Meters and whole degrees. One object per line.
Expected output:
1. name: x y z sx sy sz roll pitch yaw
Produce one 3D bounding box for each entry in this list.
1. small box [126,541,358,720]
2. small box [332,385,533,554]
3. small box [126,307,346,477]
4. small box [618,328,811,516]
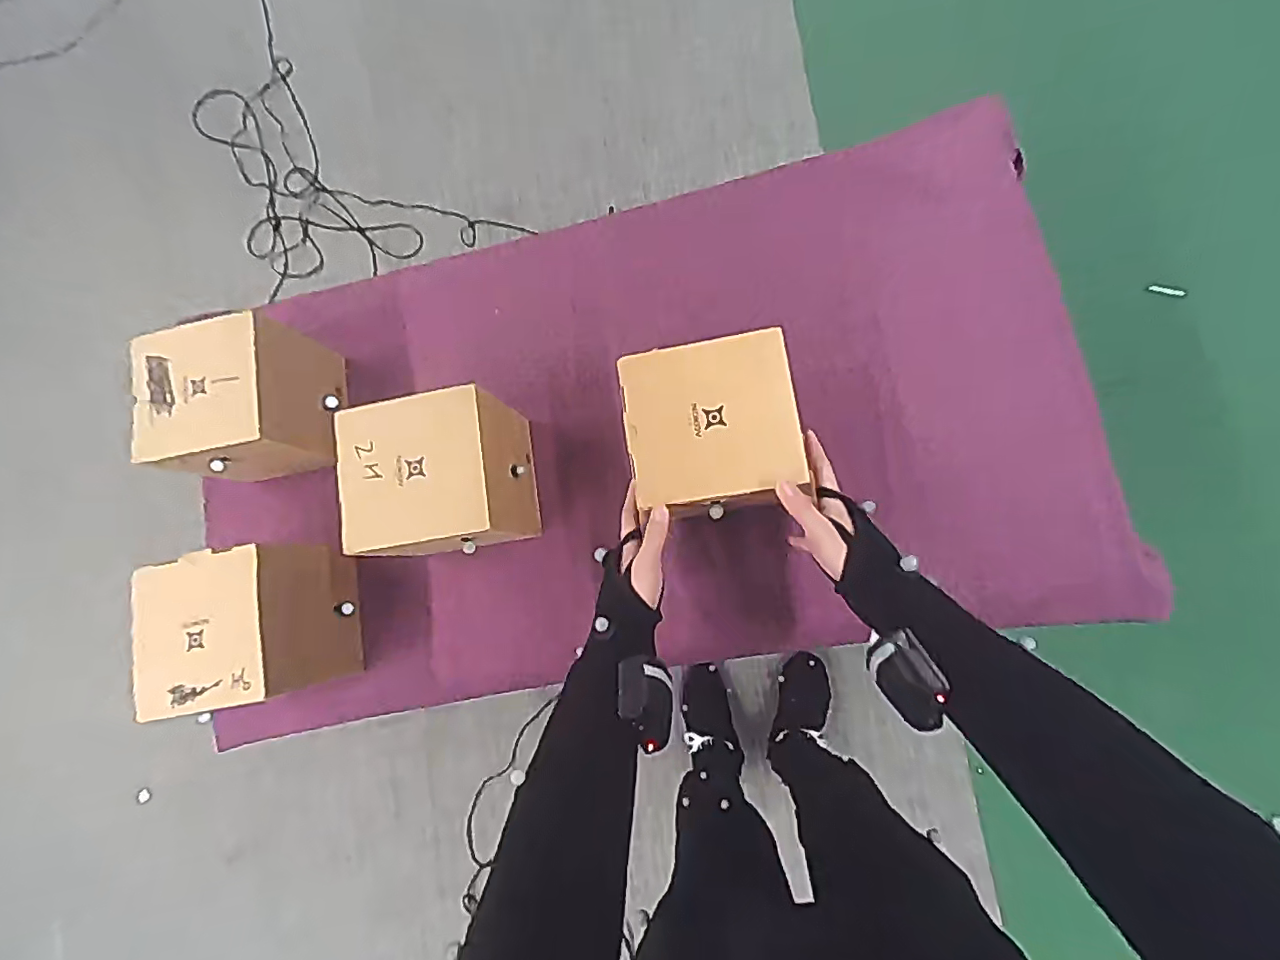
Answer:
1. small box: -0.483 0.180 0.677 0.168 0.176 0.179 -12 79 9
2. small box: -0.240 -0.003 0.664 0.179 0.176 0.168 -9 81 8
3. small box: -0.526 -0.104 0.723 0.179 0.176 0.168 -10 82 7
4. small box: 0.084 -0.053 0.622 0.179 0.176 0.168 -9 81 9
